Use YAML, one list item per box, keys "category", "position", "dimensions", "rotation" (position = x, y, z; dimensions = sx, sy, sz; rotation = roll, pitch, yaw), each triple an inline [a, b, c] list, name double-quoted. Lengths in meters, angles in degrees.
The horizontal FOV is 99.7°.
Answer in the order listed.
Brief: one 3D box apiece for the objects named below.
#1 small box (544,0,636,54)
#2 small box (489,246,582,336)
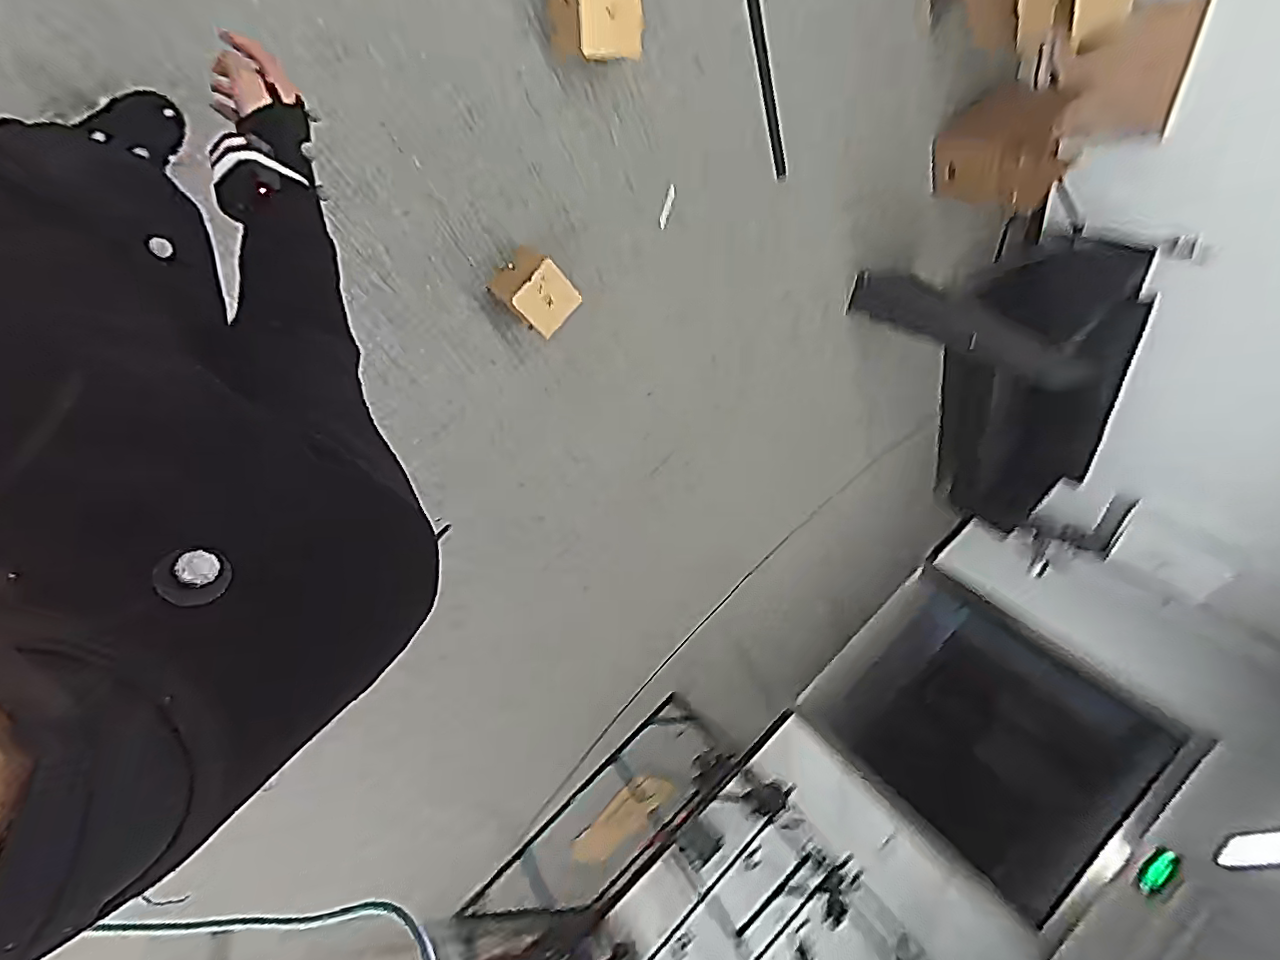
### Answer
- category: "small box"
  position: [-0.129, -1.166, 1.342]
  dimensions: [0.179, 0.176, 0.168]
  rotation: [-25, 134, -27]
- category: "small box"
  position: [-0.314, -0.569, 1.621]
  dimensions: [0.168, 0.176, 0.179]
  rotation: [-50, 139, 0]
